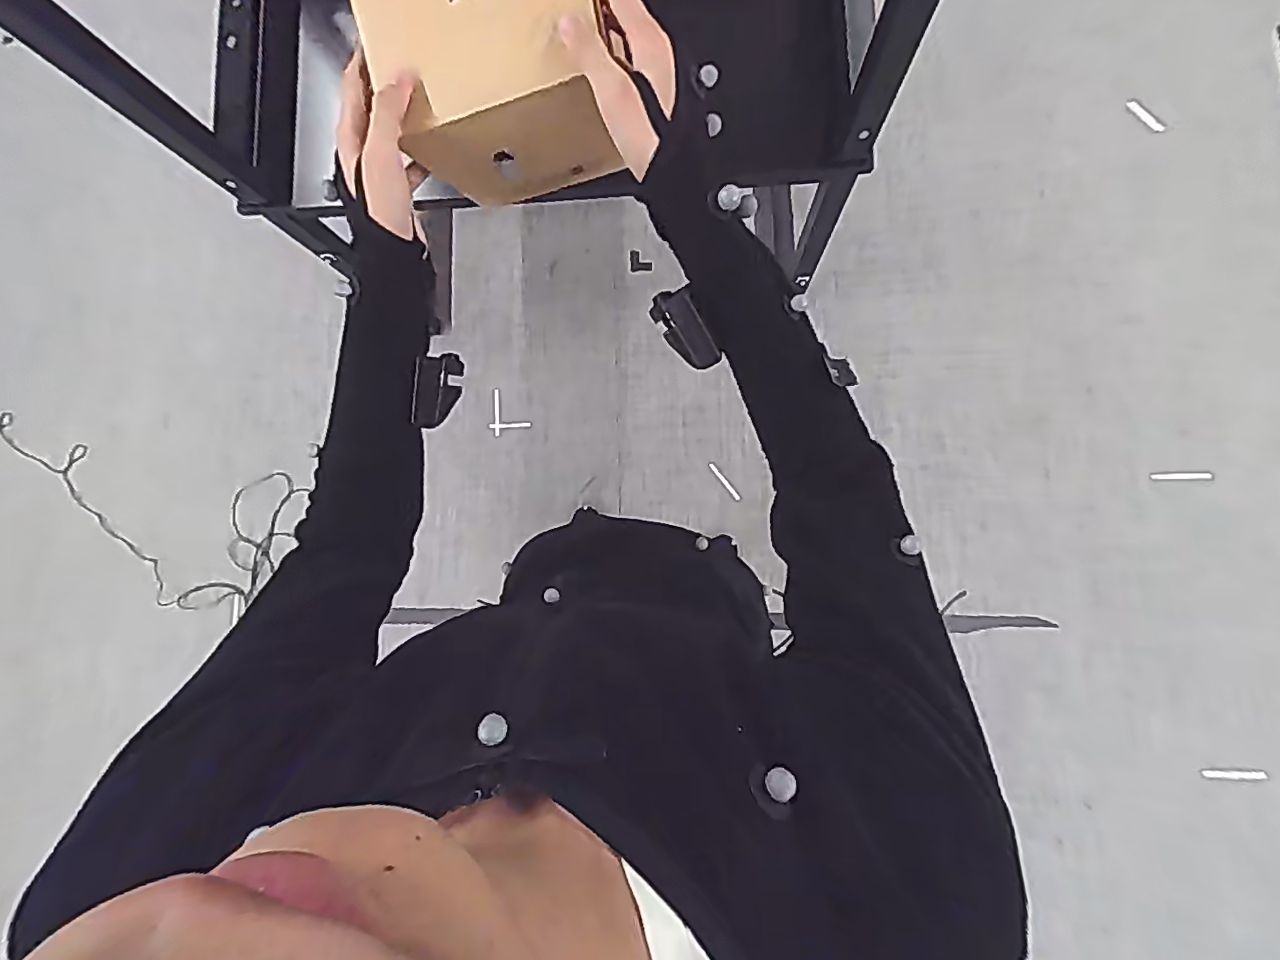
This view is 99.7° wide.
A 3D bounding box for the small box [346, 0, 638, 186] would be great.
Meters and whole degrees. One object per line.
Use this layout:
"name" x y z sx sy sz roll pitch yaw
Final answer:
"small box" -0.107 -0.358 0.425 0.168 0.176 0.179 -11 97 11
